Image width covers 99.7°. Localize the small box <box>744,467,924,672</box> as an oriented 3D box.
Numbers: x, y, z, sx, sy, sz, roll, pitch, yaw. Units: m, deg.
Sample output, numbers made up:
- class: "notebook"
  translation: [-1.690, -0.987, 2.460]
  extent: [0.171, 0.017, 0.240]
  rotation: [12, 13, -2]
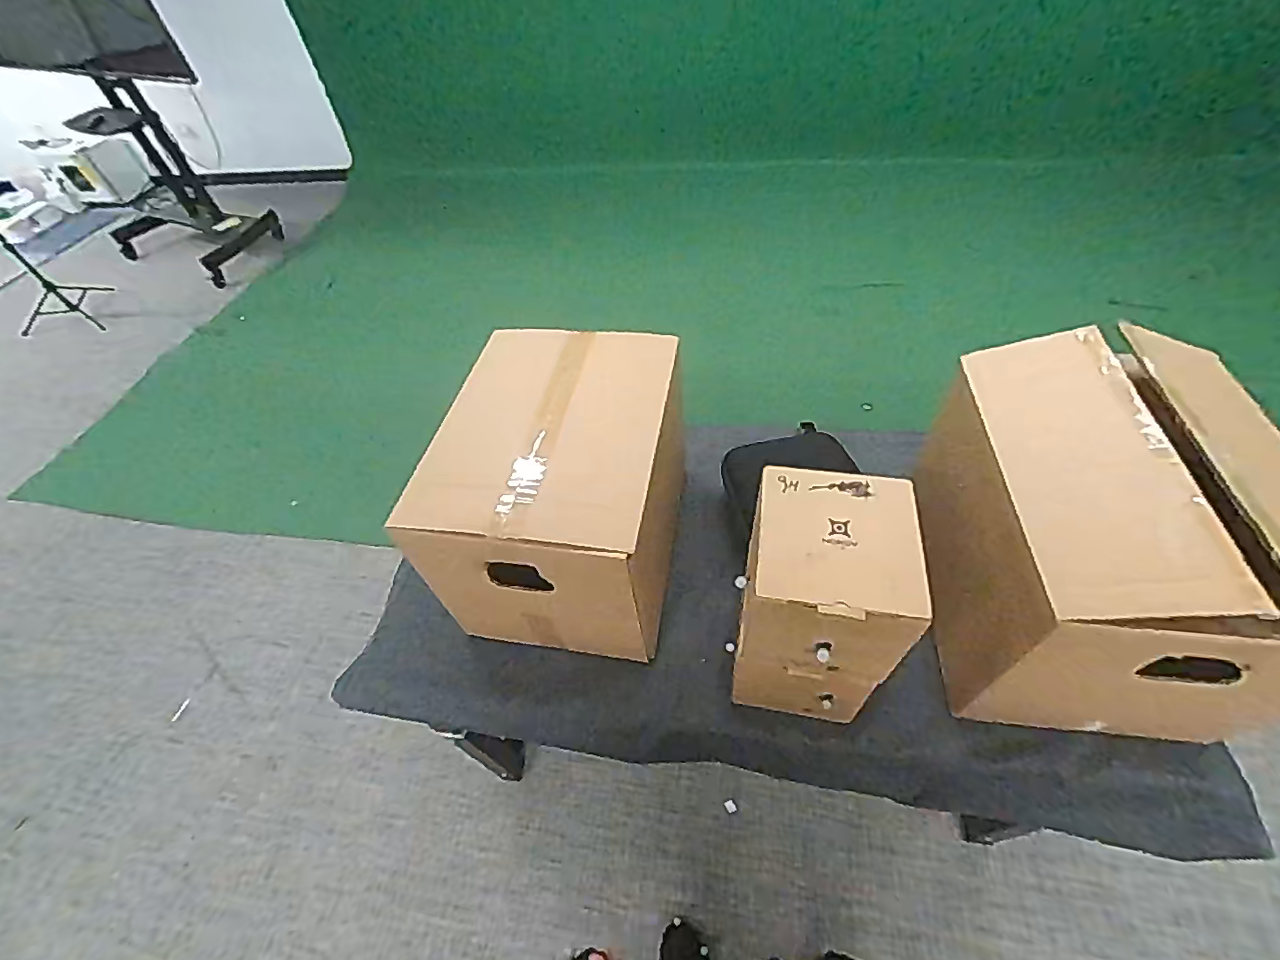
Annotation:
- class: "small box"
  translation: [0.216, 0.109, 0.641]
  extent: [0.168, 0.176, 0.179]
  rotation: [6, 53, 10]
